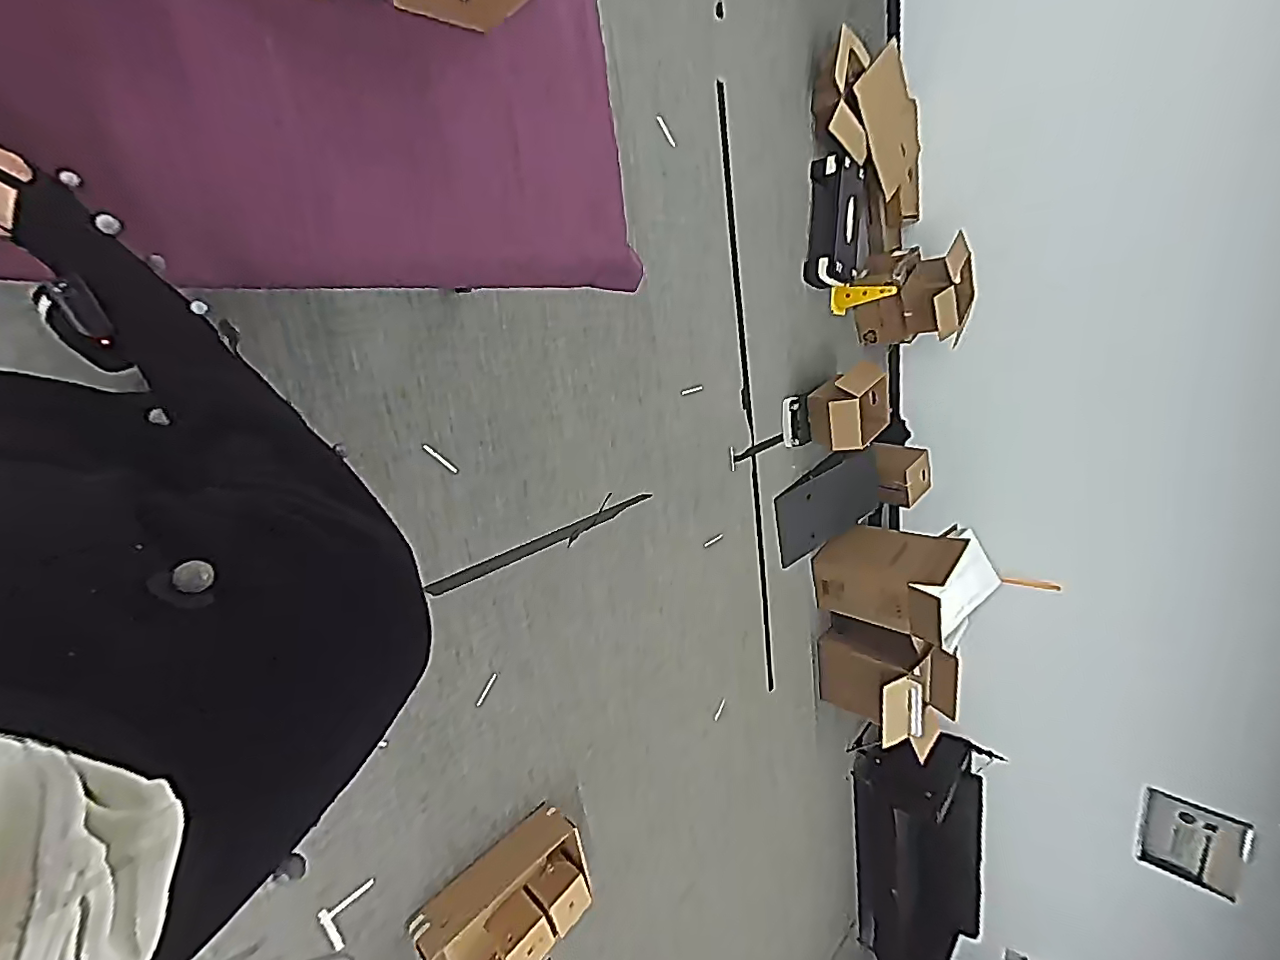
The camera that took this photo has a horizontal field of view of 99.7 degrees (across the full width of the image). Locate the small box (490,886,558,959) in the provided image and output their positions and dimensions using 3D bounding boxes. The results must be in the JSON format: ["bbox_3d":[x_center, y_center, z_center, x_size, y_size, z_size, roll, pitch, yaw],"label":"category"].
[{"bbox_3d":[-0.442,1.691,2.026,0.179,0.176,0.168,-30,116,-37],"label":"small box"}]

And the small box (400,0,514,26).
[{"bbox_3d":[-0.273,-0.823,0.805,0.179,0.176,0.168,-22,114,-40],"label":"small box"}]
